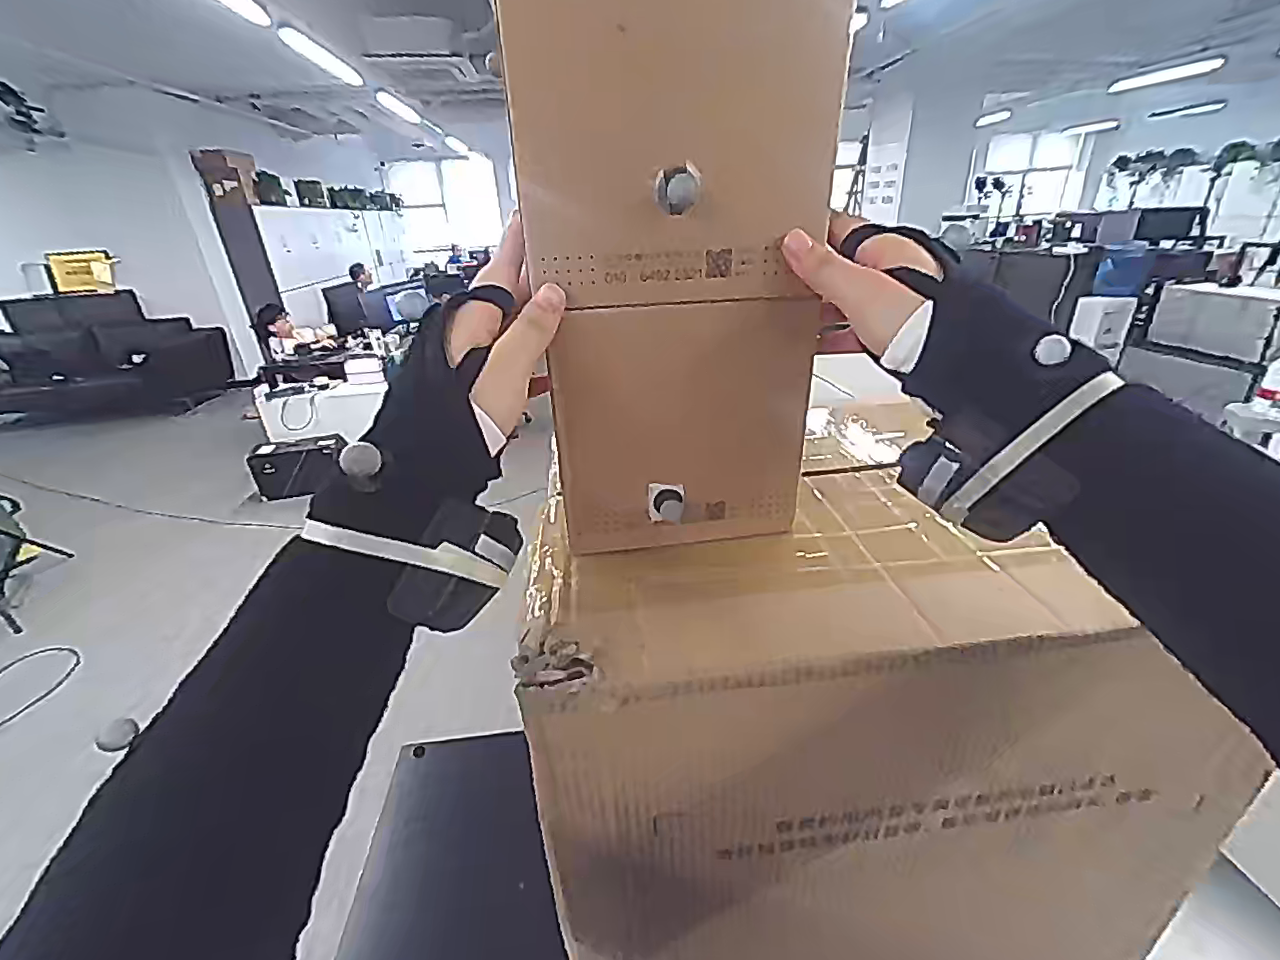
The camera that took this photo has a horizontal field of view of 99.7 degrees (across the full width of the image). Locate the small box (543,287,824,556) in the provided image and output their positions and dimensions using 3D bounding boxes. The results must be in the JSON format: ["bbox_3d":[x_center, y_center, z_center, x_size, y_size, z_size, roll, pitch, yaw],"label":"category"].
[{"bbox_3d":[0.017,-0.064,0.414,0.168,0.176,0.179,-7,28,-7],"label":"small box"}]

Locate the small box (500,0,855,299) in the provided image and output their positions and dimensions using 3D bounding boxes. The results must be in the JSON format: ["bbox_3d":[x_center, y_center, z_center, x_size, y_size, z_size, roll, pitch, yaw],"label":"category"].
[{"bbox_3d":[0.009,-0.210,0.336,0.168,0.176,0.179,-5,28,-6],"label":"small box"}]
